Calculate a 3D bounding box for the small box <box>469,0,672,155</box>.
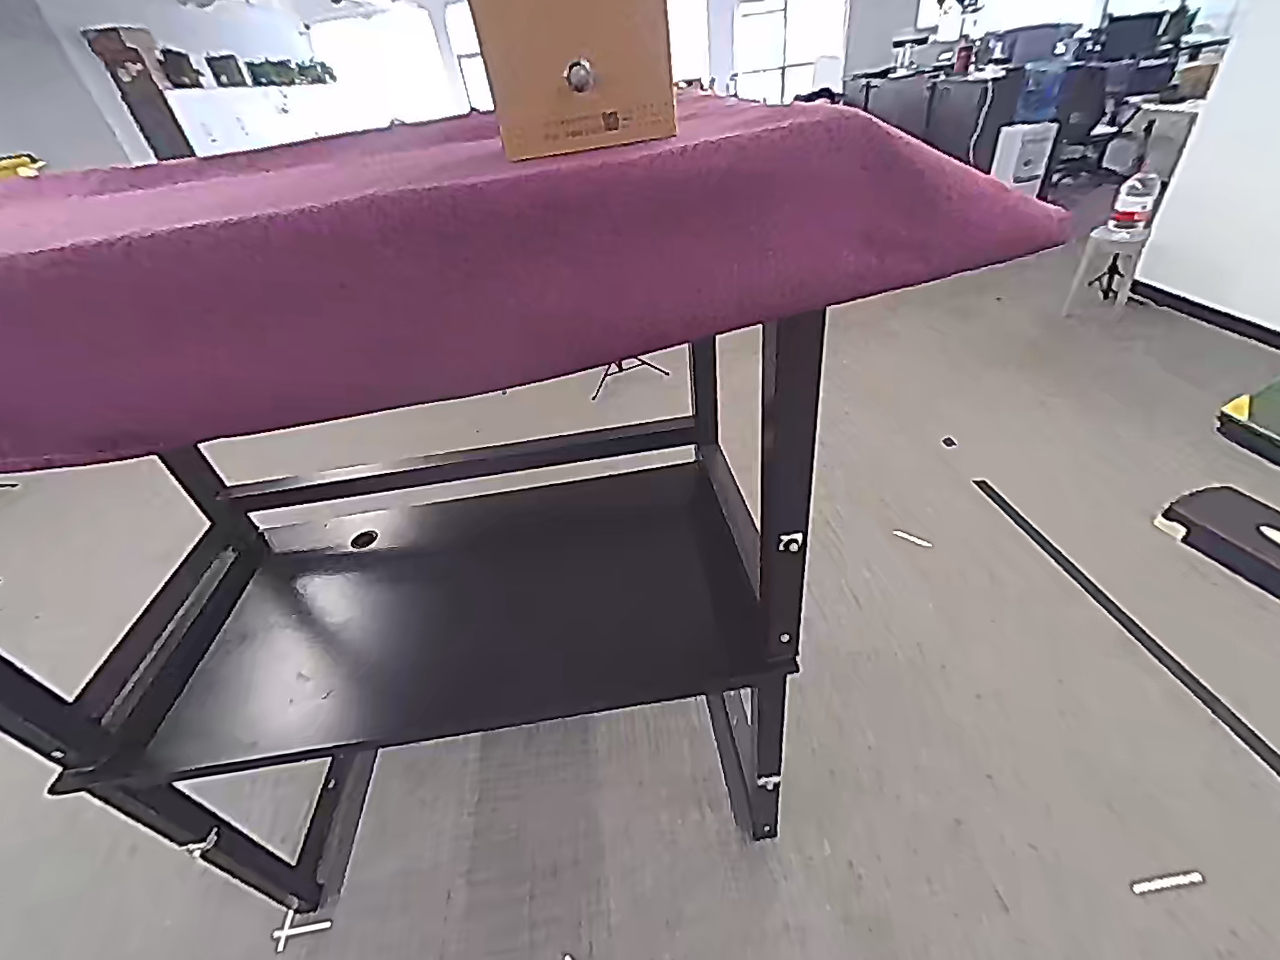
[{"bbox_3d":[-0.063,-0.427,0.524,0.168,0.176,0.179,-8,37,3],"label":"small box"}]
